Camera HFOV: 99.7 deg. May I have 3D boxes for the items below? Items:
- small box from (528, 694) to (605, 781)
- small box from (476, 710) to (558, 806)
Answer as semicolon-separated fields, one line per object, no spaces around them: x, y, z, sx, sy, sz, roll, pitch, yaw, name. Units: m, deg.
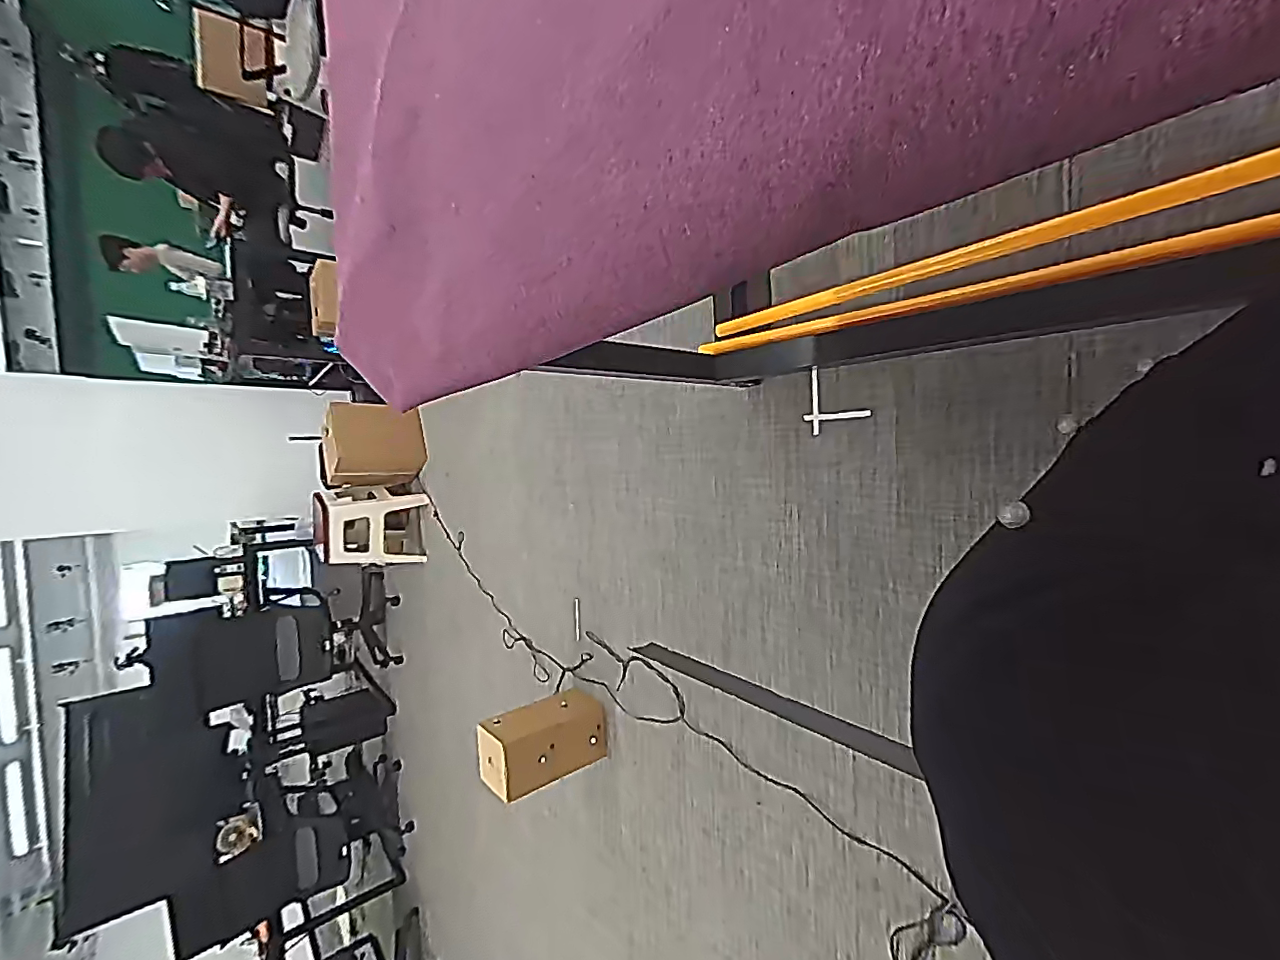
-0.224;0.771;1.645;0.179;0.176;0.168;1;95;50;small box
-0.351;0.779;1.539;0.179;0.176;0.168;-1;93;50;small box
